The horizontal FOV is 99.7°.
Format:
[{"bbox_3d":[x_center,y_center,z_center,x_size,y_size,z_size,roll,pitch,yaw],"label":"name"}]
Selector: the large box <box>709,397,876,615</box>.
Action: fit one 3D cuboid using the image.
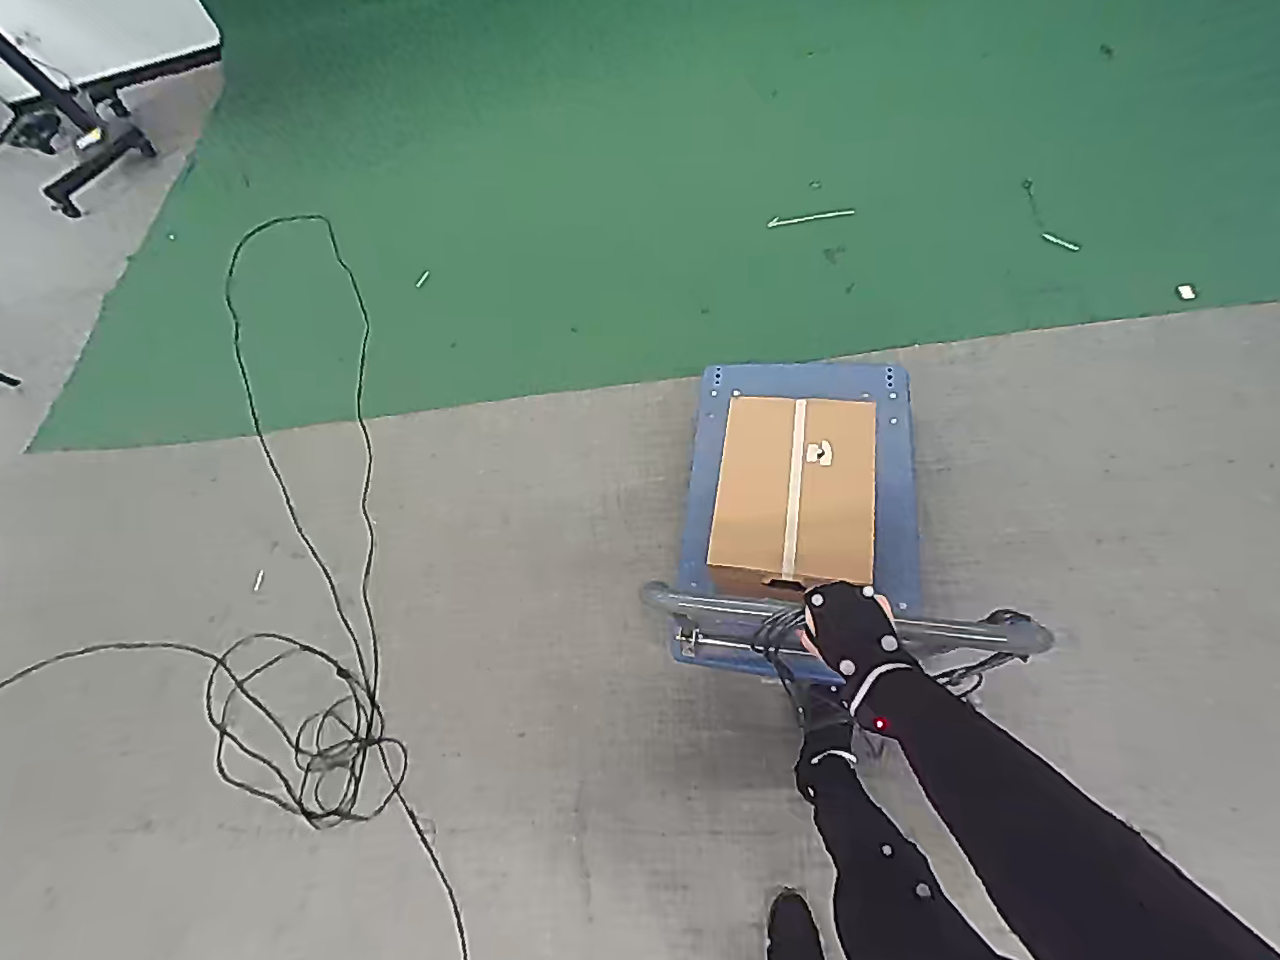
[{"bbox_3d":[0.349,0.065,1.243,0.320,0.320,0.408,6,66,14],"label":"large box"}]
